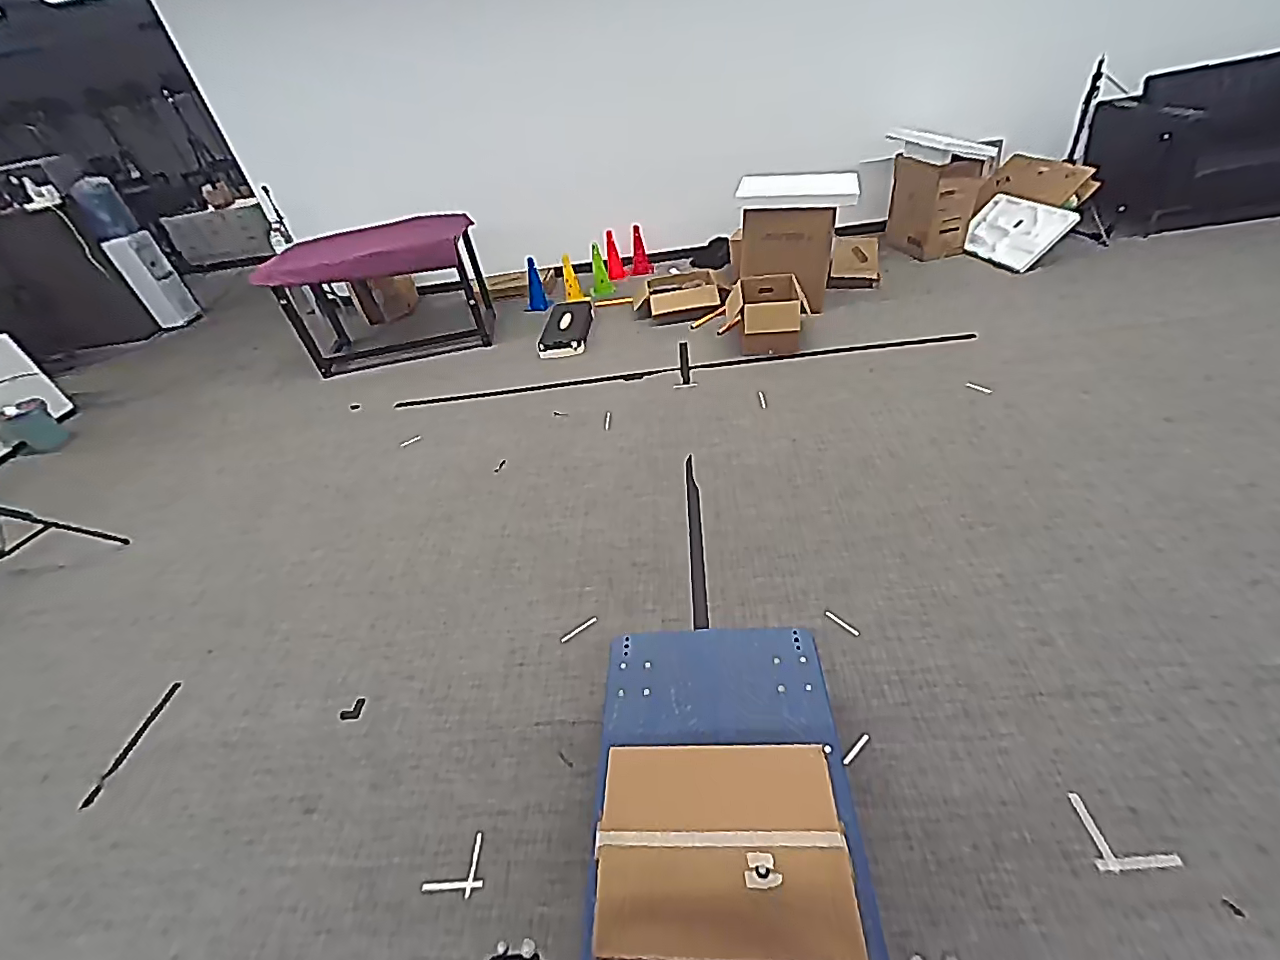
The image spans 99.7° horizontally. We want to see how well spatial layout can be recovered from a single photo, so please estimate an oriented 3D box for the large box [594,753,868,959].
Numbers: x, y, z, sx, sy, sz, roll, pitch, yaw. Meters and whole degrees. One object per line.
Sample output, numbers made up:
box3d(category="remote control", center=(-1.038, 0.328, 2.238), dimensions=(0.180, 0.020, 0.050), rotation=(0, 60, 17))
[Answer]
box3d(category="large box", center=(0.148, 0.726, 0.980), dimensions=(0.408, 0.320, 0.320), rotation=(-4, 40, 7))
